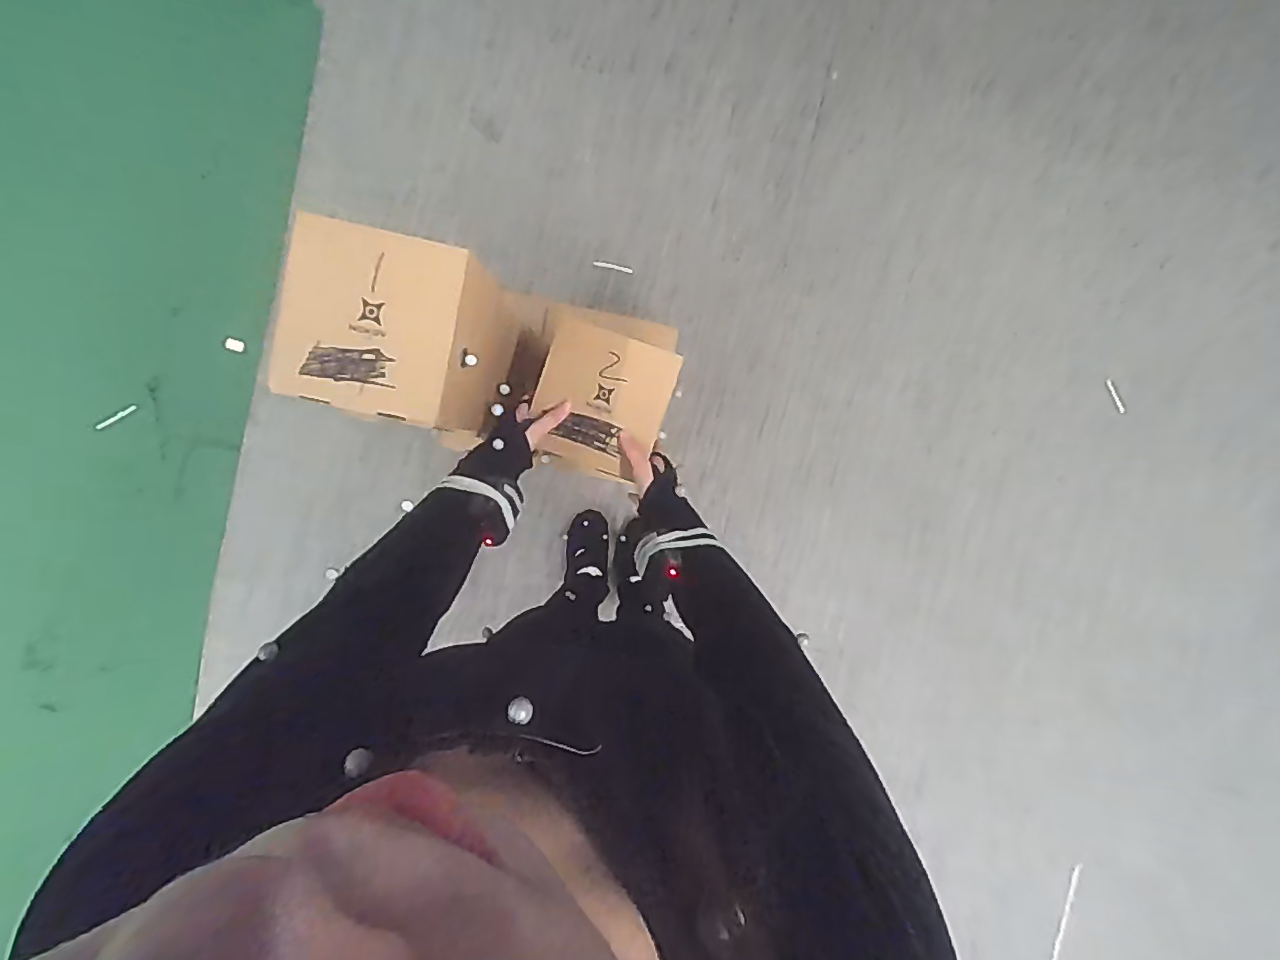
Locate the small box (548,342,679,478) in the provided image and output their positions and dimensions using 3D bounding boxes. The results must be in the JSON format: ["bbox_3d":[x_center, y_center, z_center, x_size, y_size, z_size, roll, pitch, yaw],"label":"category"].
[{"bbox_3d":[-0.042,-0.112,0.928,0.168,0.176,0.179,19,92,1],"label":"small box"}]

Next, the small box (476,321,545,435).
[{"bbox_3d":[-0.267,-0.178,0.926,0.168,0.176,0.179,14,93,-3],"label":"small box"}]

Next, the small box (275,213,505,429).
[{"bbox_3d":[-0.257,-0.156,0.598,0.168,0.176,0.179,11,92,-3],"label":"small box"}]
